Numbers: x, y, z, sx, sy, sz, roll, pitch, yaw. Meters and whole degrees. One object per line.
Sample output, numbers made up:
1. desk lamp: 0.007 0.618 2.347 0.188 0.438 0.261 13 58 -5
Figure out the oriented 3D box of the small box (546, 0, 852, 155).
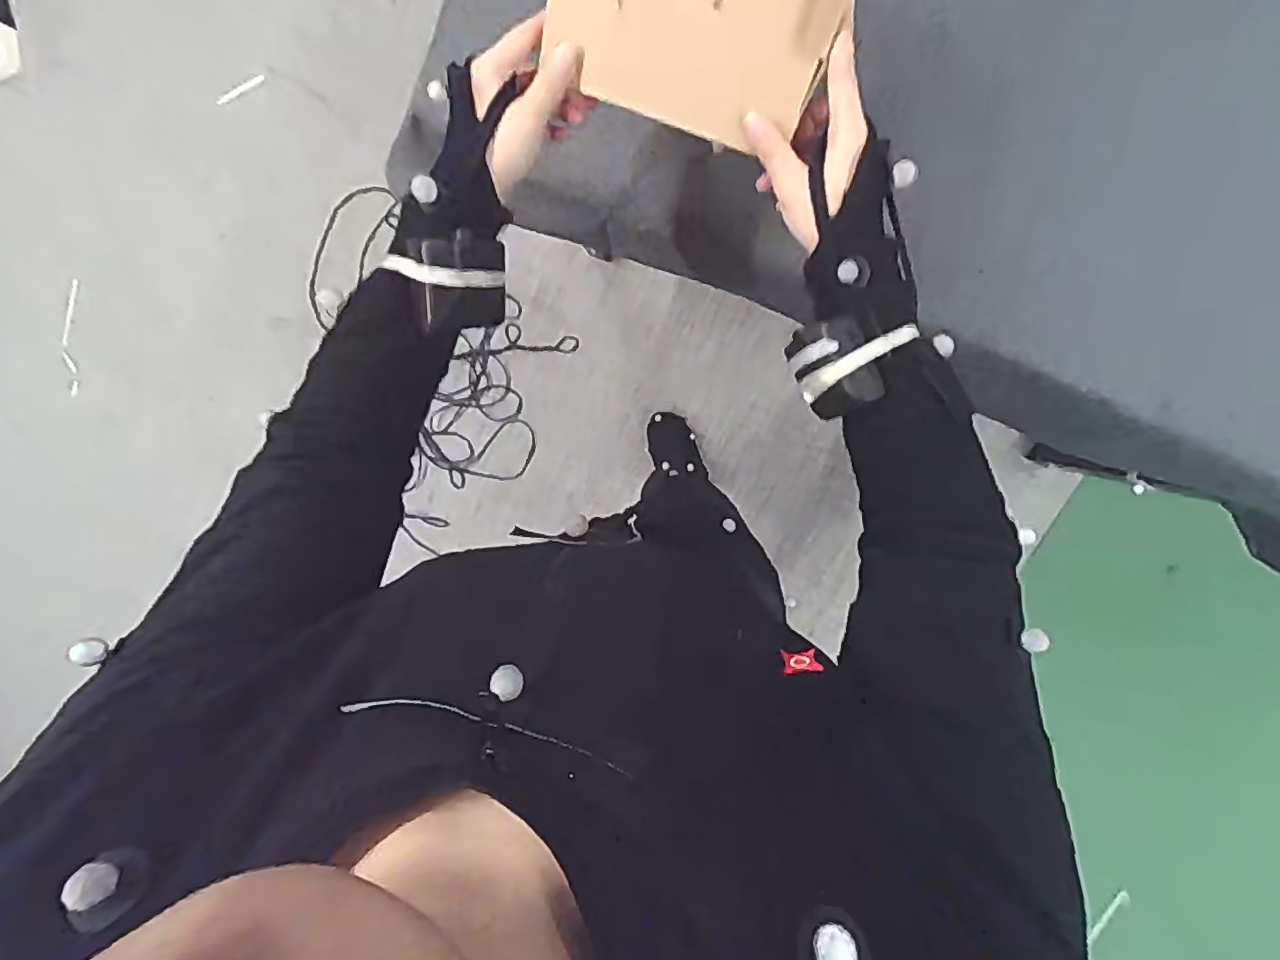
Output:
1. small box: 0.052 -0.354 0.376 0.179 0.176 0.168 17 127 -3
